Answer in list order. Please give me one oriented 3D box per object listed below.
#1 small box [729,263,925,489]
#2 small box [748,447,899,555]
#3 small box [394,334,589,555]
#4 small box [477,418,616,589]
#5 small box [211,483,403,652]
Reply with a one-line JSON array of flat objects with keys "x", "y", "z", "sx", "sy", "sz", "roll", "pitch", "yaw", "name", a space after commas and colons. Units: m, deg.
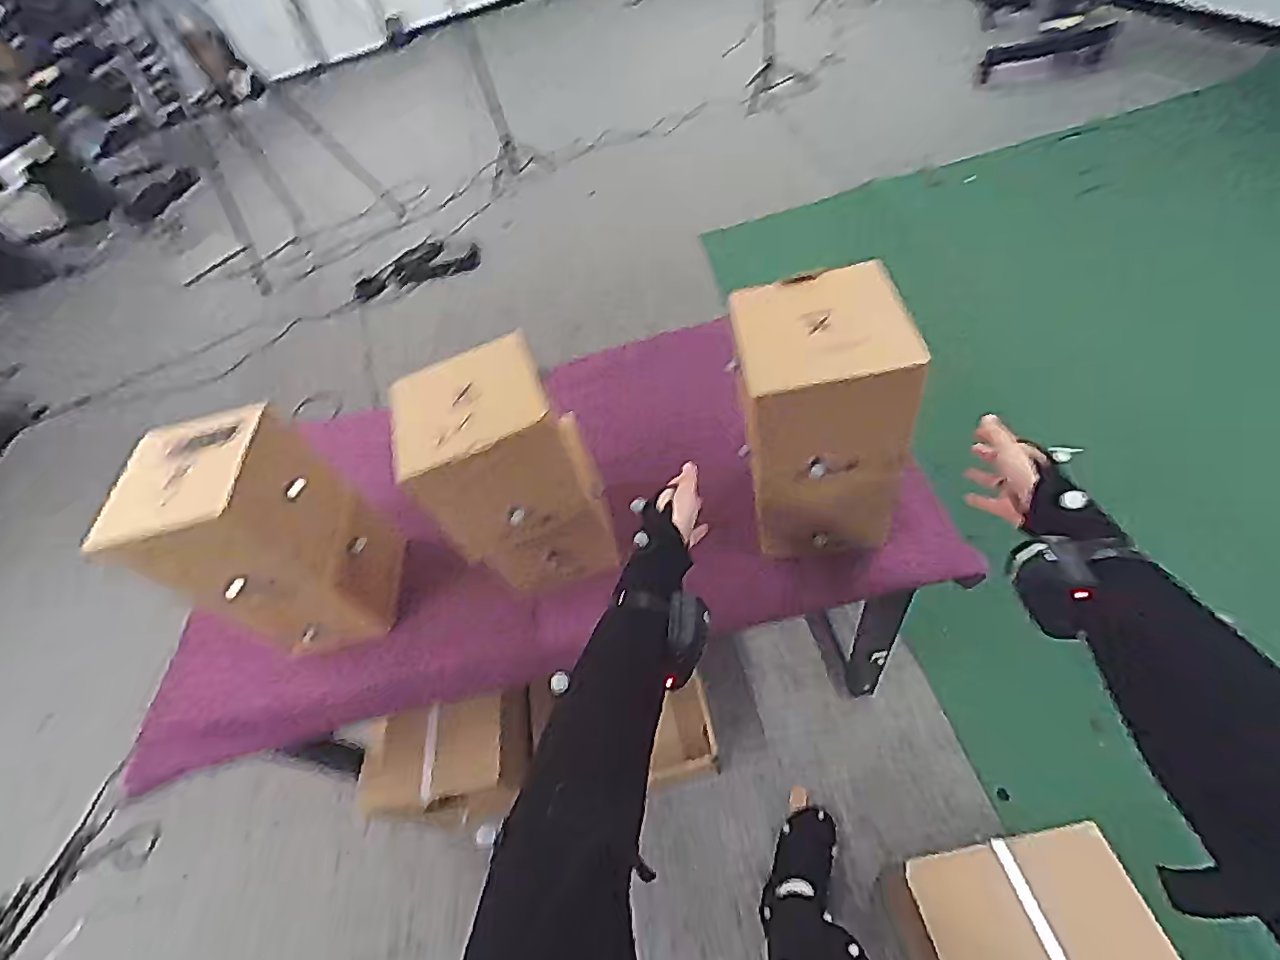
[{"x": 0.199, "y": -0.114, "z": 0.621, "sx": 0.168, "sy": 0.176, "sz": 0.179, "roll": -9, "pitch": 51, "yaw": 10, "name": "small box"}, {"x": 0.237, "y": -0.017, "z": 0.746, "sx": 0.168, "sy": 0.176, "sz": 0.179, "roll": -7, "pitch": 52, "yaw": 11, "name": "small box"}, {"x": -0.178, "y": -0.041, "z": 0.663, "sx": 0.168, "sy": 0.176, "sz": 0.179, "roll": -24, "pitch": 50, "yaw": -3, "name": "small box"}, {"x": -0.143, "y": 0.043, "z": 0.804, "sx": 0.168, "sy": 0.176, "sz": 0.179, "roll": -17, "pitch": 50, "yaw": 0, "name": "small box"}, {"x": -0.484, "y": 0.136, "z": 0.822, "sx": 0.168, "sy": 0.176, "sz": 0.179, "roll": -14, "pitch": 51, "yaw": 3, "name": "small box"}]
